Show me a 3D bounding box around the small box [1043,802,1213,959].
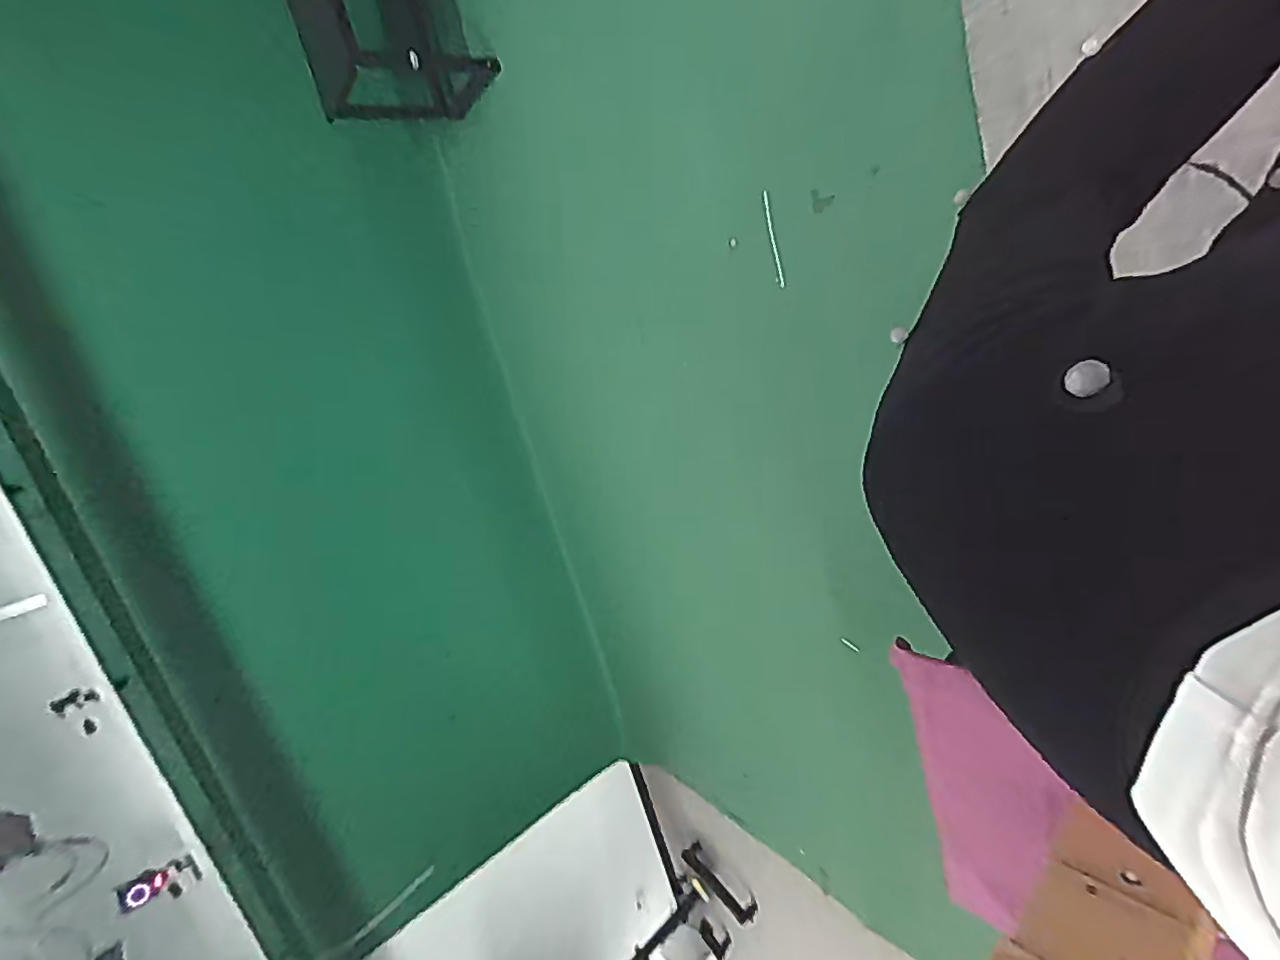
[{"bbox_3d":[0.780,0.664,0.864,0.179,0.176,0.168,4,113,53],"label":"small box"}]
